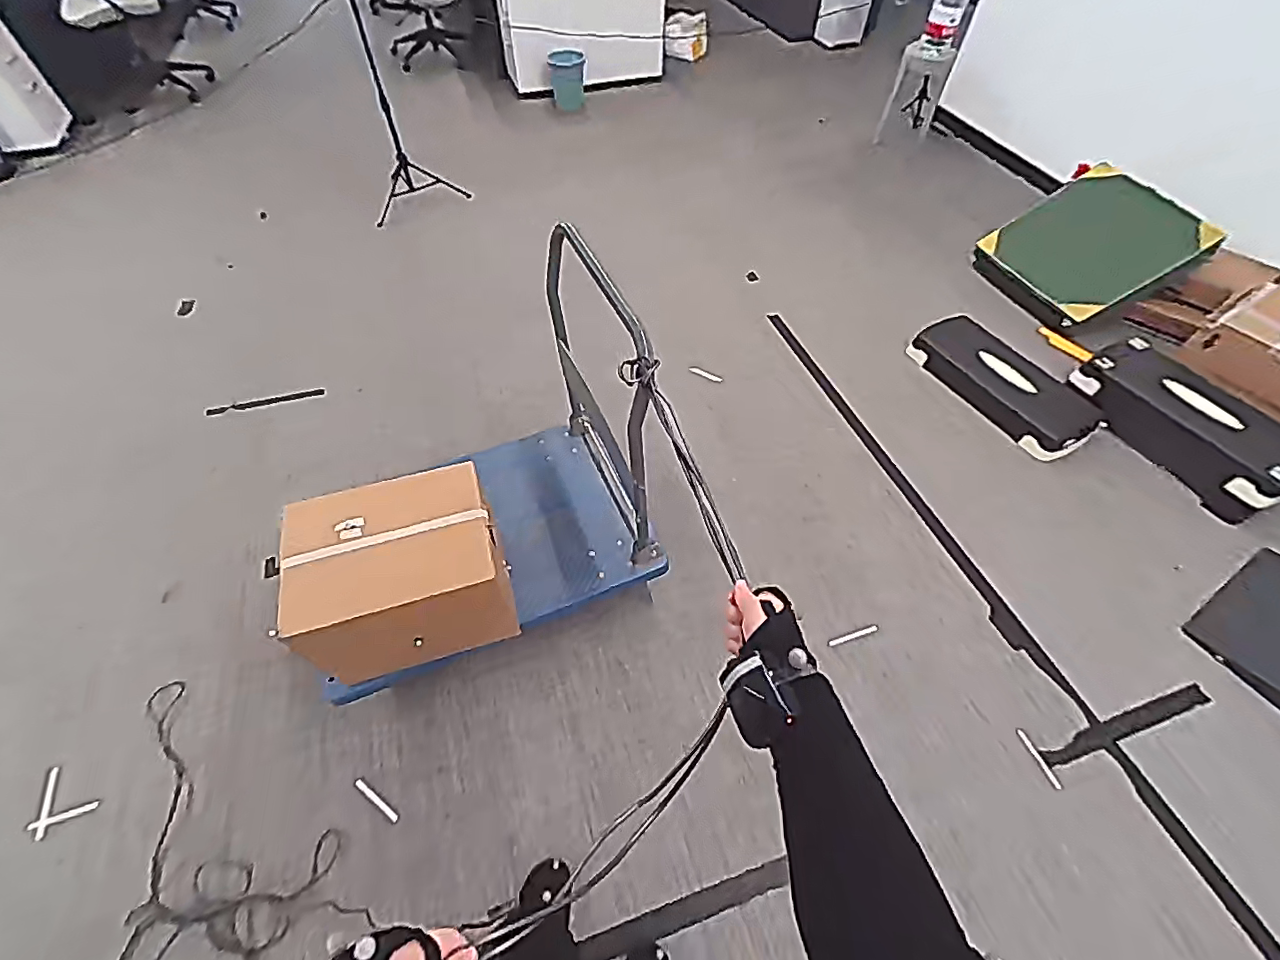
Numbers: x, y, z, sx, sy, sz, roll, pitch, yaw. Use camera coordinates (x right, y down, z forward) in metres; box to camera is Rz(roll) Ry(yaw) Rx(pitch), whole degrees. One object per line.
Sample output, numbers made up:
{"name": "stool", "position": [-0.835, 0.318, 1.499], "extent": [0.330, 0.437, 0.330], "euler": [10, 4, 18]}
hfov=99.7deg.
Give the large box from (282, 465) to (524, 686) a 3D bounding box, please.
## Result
{"name": "large box", "position": [-0.513, 0.219, 1.226], "extent": [0.408, 0.320, 0.320], "euler": [-15, 55, -11]}
